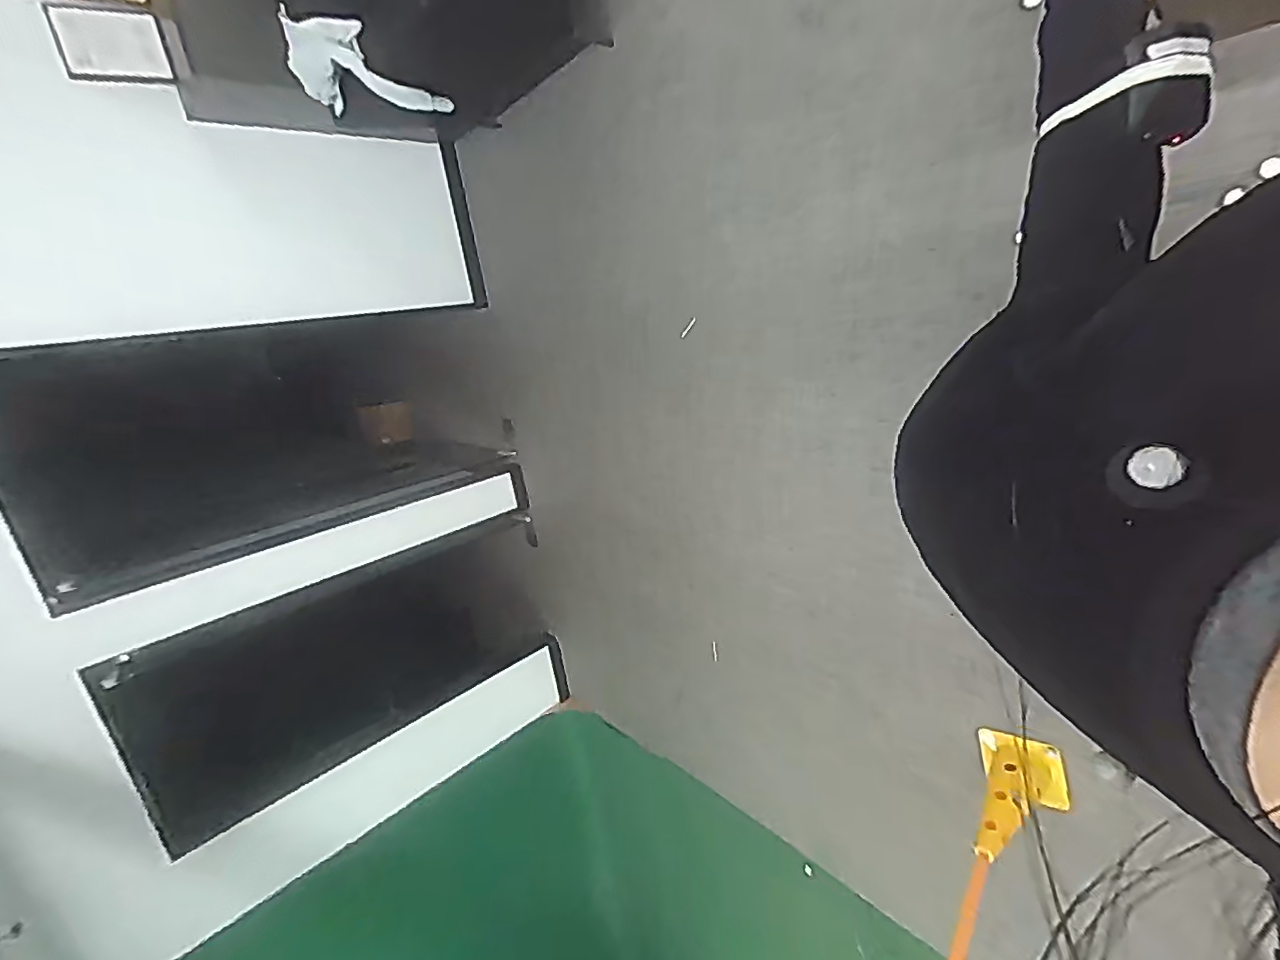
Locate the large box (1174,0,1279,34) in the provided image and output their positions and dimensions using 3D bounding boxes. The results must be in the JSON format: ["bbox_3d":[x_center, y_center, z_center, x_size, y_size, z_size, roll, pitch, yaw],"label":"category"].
[{"bbox_3d":[0.561,-0.503,0.260,0.408,0.320,0.320,10,118,45],"label":"large box"}]
